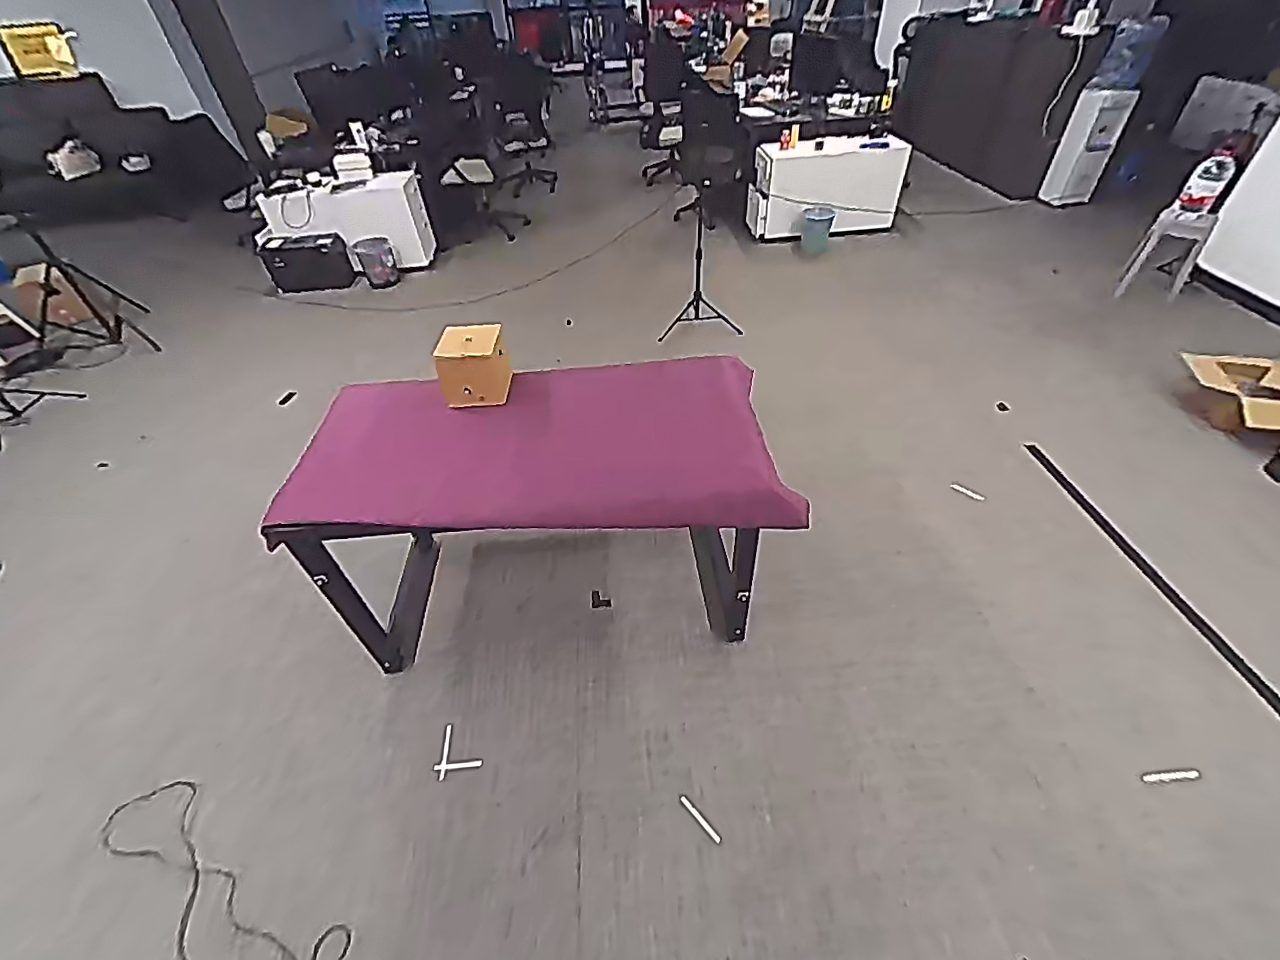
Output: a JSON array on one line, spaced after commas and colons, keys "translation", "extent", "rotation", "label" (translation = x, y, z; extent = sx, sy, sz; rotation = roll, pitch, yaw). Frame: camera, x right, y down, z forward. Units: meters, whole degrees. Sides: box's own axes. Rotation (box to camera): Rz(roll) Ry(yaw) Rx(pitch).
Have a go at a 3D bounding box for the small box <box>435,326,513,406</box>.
[{"translation": [-0.477, -0.334, 1.585], "extent": [0.168, 0.176, 0.179], "rotation": [-3, 44, 0], "label": "small box"}]
